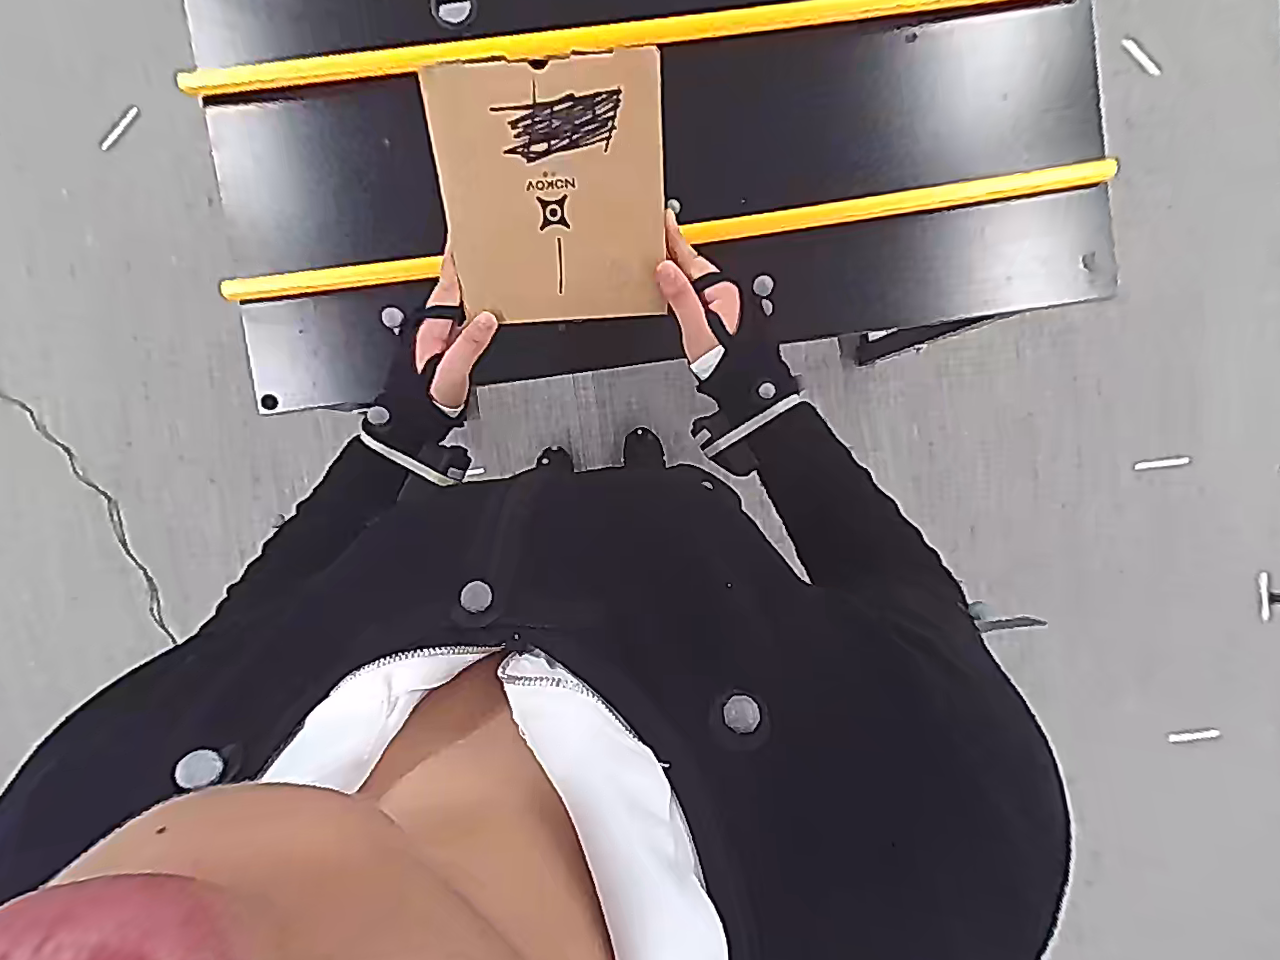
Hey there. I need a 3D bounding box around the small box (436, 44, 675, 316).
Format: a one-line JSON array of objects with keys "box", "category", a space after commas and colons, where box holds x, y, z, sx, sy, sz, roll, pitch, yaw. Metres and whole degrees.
[{"box": [-0.056, -0.246, 0.474, 0.168, 0.176, 0.179, -2, 115, 2], "category": "small box"}]
